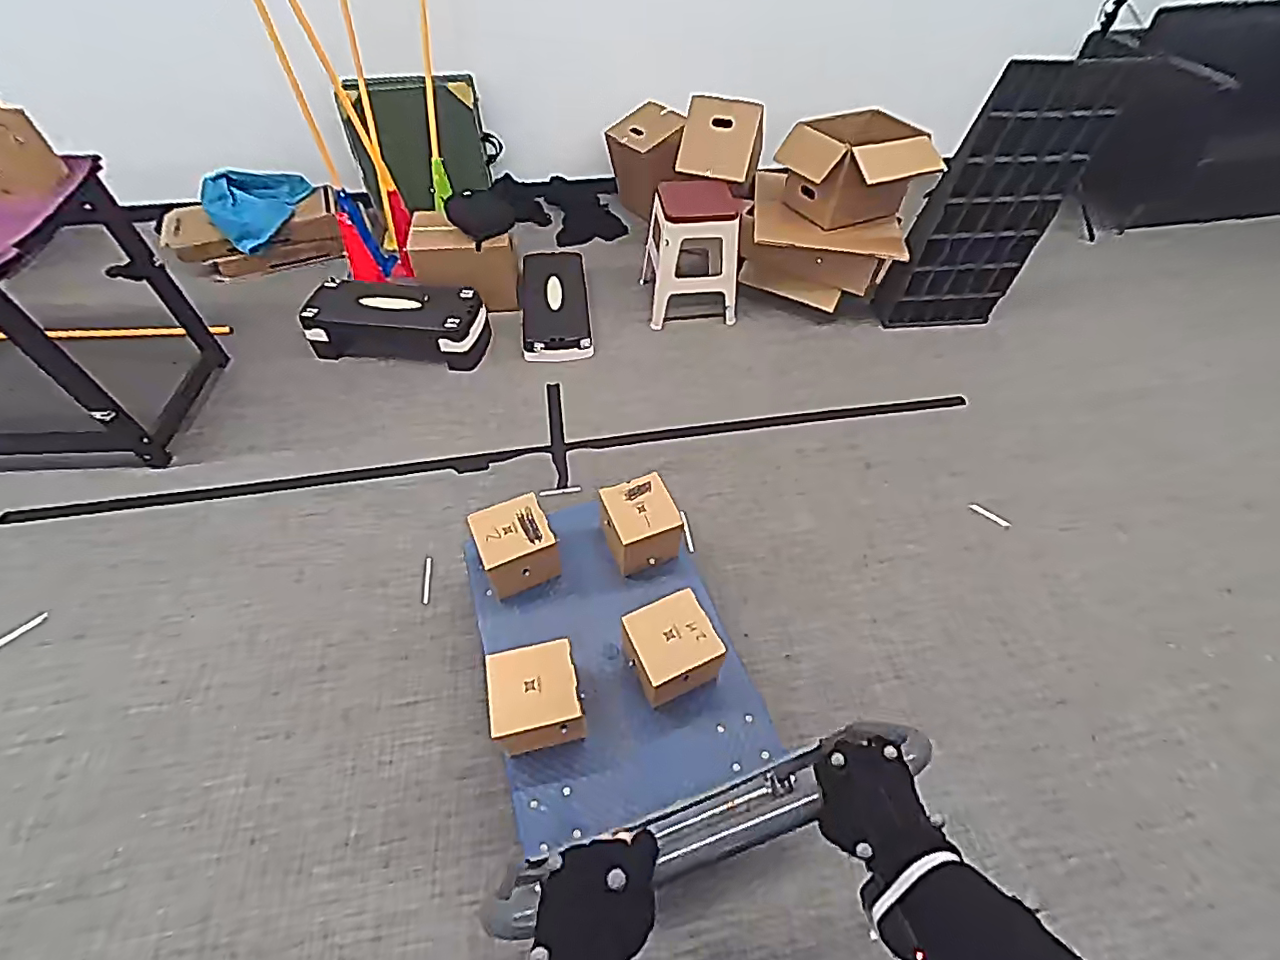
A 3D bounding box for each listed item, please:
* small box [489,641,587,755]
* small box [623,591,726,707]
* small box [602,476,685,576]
[{"bbox_3d":[-0.215,0.469,1.158,0.179,0.176,0.168,-10,53,-10],"label":"small box"},{"bbox_3d":[0.073,0.386,1.225,0.179,0.176,0.168,-20,56,-15],"label":"small box"},{"bbox_3d":[0.004,0.123,1.426,0.168,0.176,0.179,-18,56,-14],"label":"small box"}]
